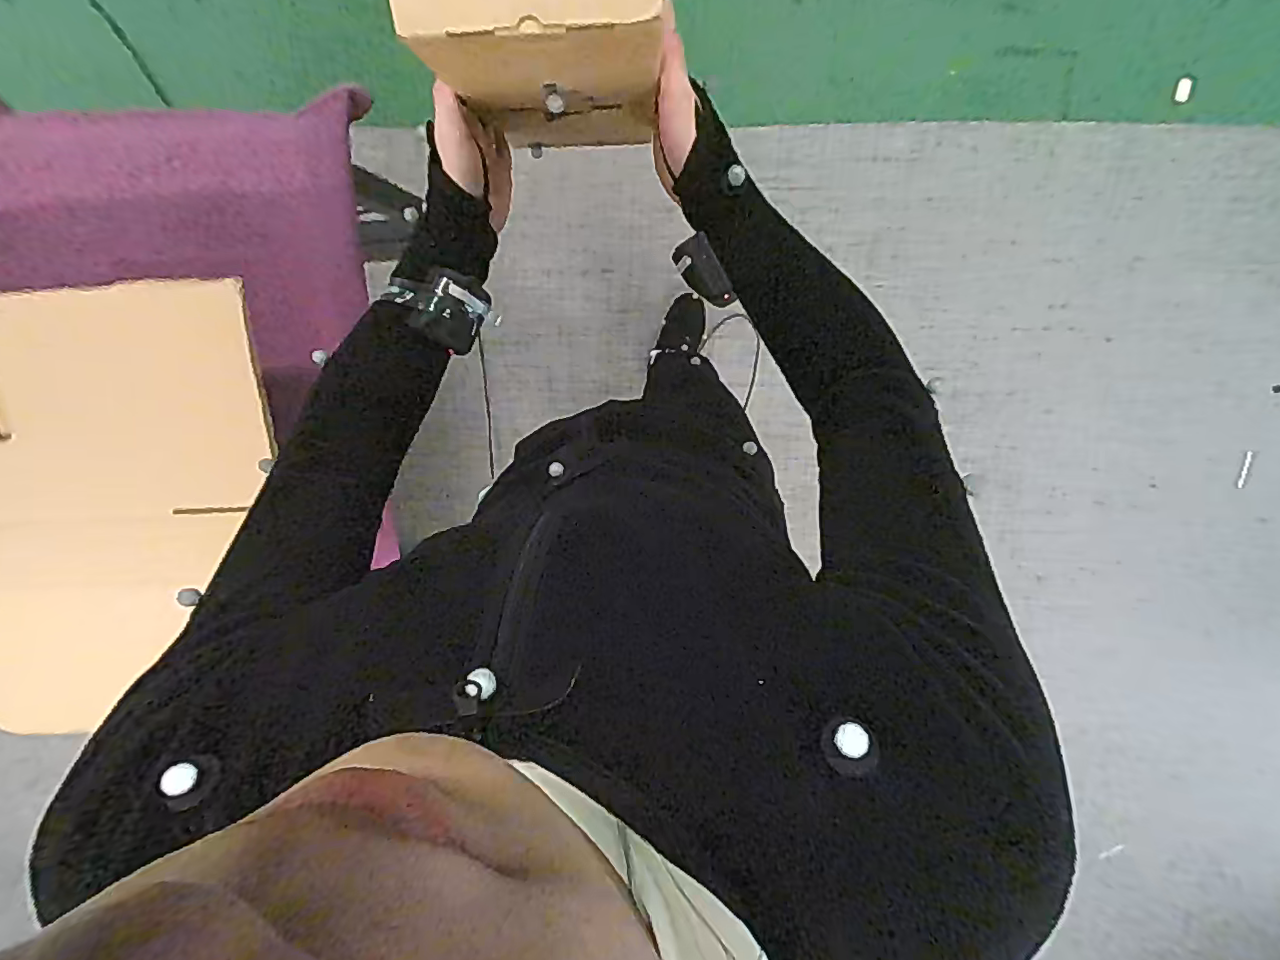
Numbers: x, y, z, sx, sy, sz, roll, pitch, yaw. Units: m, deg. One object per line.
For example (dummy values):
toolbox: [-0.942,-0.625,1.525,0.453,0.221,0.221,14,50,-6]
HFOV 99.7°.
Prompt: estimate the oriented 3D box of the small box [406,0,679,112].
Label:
small box: [-0.061,-0.381,0.374,0.168,0.176,0.179,-2,112,0]

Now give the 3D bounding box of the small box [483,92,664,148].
small box: [-0.060,-0.437,0.528,0.168,0.176,0.179,-2,111,0]
